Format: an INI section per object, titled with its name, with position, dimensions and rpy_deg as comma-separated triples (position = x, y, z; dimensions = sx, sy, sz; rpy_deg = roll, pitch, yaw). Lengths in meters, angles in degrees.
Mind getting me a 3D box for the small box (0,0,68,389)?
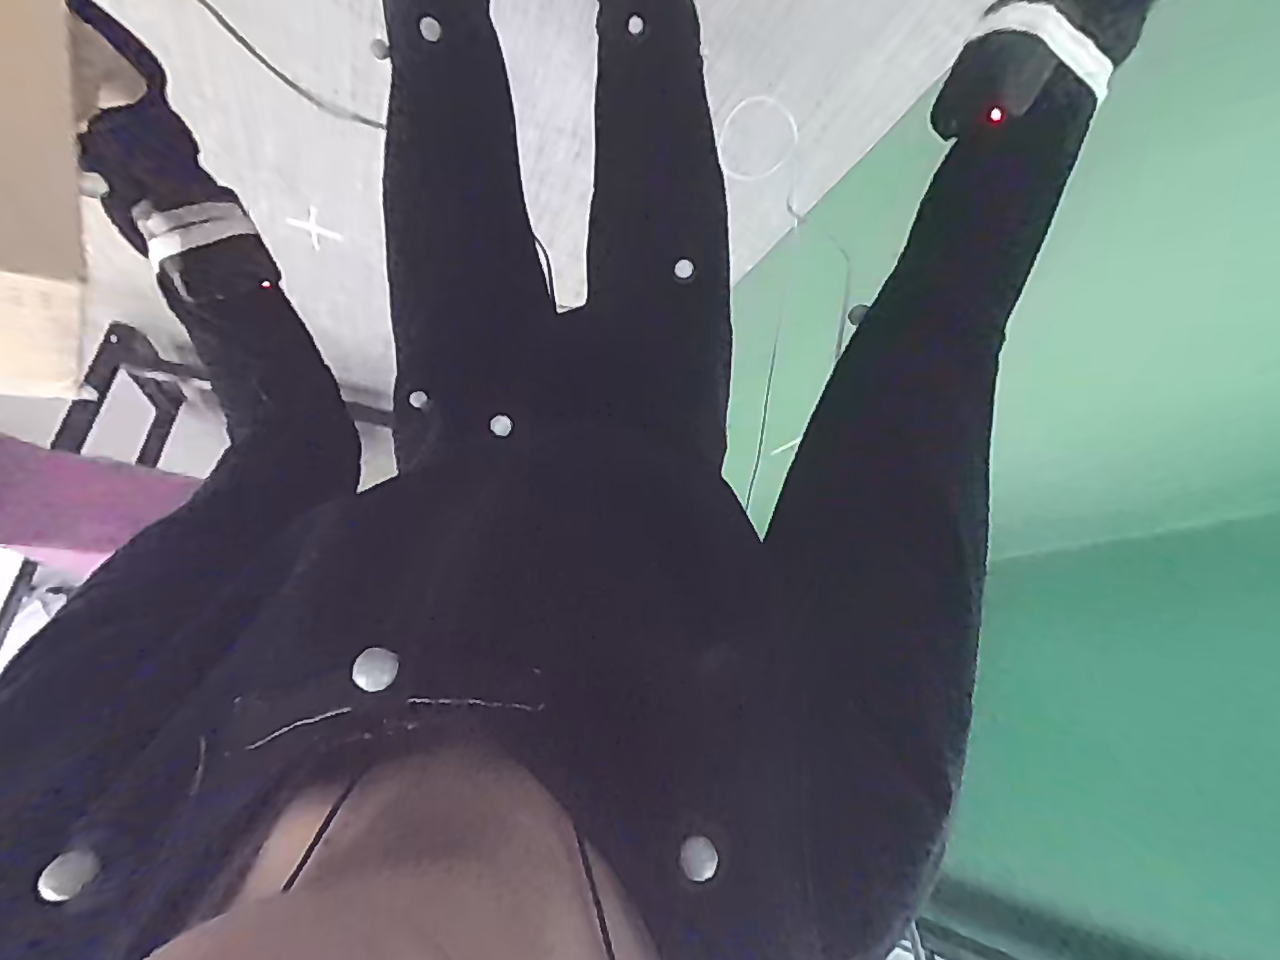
[small box]
position = -0.299, -0.137, 0.163
dimensions = 0.176, 0.179, 0.168
rpy_deg = -12, 175, 43
